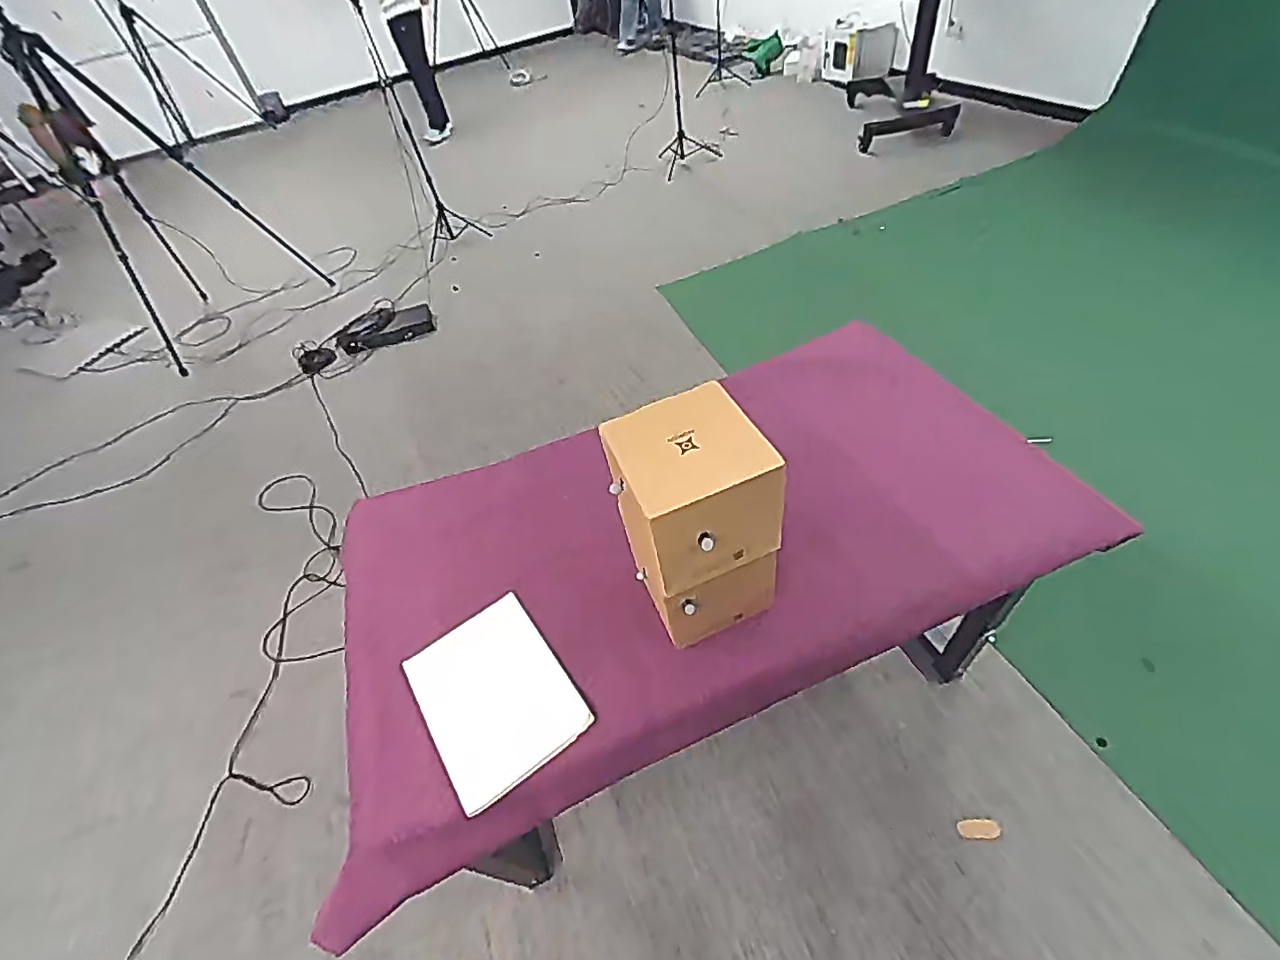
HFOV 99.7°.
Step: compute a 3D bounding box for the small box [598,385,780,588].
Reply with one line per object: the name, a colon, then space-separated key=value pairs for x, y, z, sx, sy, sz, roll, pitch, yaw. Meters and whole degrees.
small box: x=0.065 y=0.015 z=0.691 sx=0.168 sy=0.176 sz=0.179 roll=-22 pitch=47 yaw=-8
